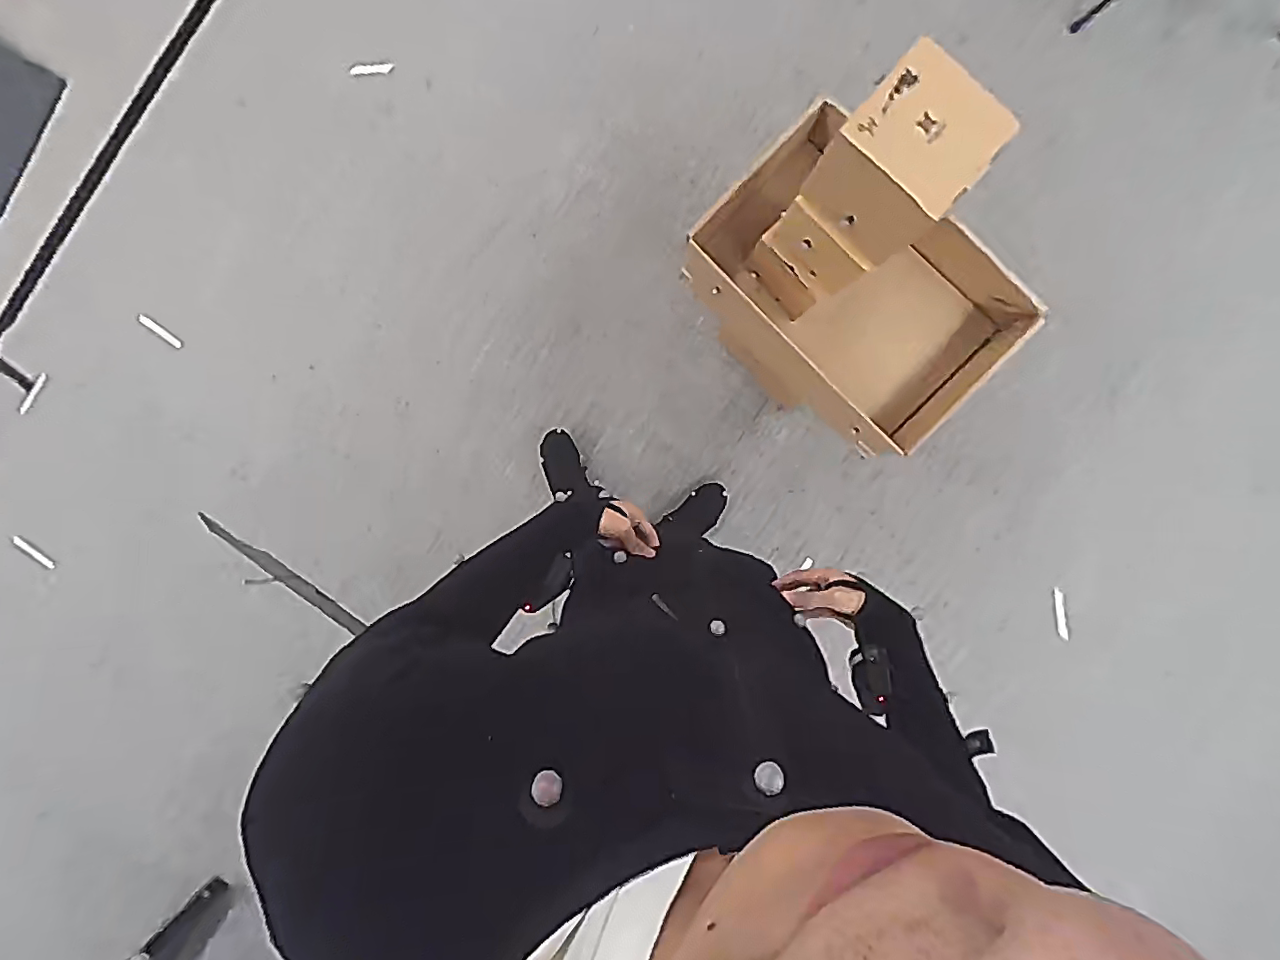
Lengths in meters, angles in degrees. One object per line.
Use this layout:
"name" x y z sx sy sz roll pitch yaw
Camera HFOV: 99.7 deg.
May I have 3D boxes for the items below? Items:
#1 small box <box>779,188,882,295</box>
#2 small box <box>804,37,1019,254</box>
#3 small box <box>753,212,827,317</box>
"small box" 0.363 -0.453 0.936 0.168 0.176 0.179 44 91 -3
"small box" 0.371 -0.452 0.772 0.179 0.176 0.168 43 91 -3
"small box" 0.348 -0.461 1.098 0.179 0.176 0.168 -42 92 1
